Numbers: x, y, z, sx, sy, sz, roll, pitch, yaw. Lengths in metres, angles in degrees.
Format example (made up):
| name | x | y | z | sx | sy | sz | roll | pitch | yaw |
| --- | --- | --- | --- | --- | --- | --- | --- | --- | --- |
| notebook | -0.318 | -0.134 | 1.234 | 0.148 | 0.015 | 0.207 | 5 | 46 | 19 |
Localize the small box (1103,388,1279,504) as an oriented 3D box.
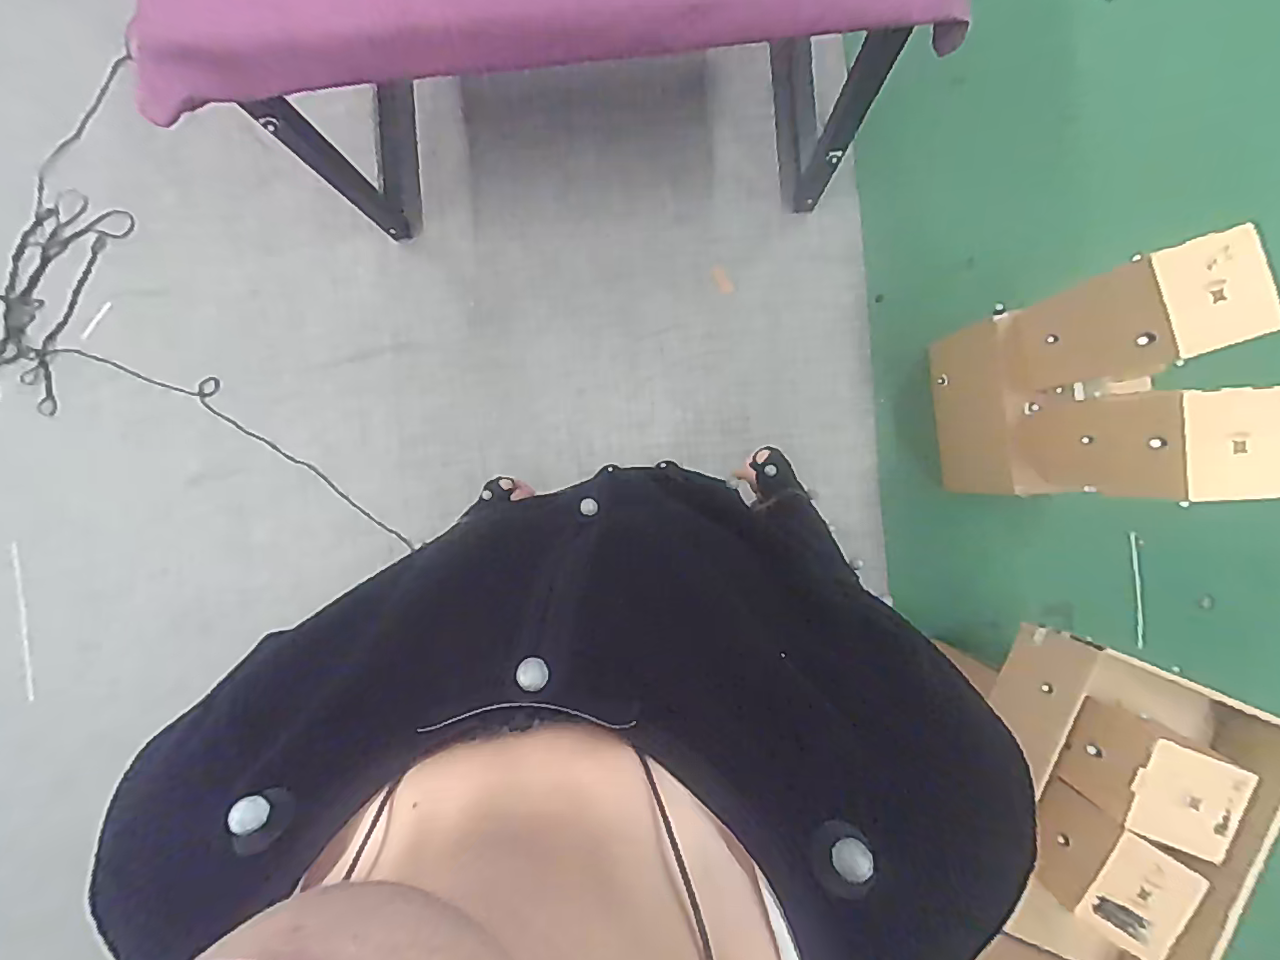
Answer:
| name | x | y | z | sx | sy | sz | roll | pitch | yaw |
| --- | --- | --- | --- | --- | --- | --- | --- | --- | --- |
| small box | 0.932 | -0.053 | 0.913 | 0.168 | 0.176 | 0.179 | -3 | 89 | 4 |
